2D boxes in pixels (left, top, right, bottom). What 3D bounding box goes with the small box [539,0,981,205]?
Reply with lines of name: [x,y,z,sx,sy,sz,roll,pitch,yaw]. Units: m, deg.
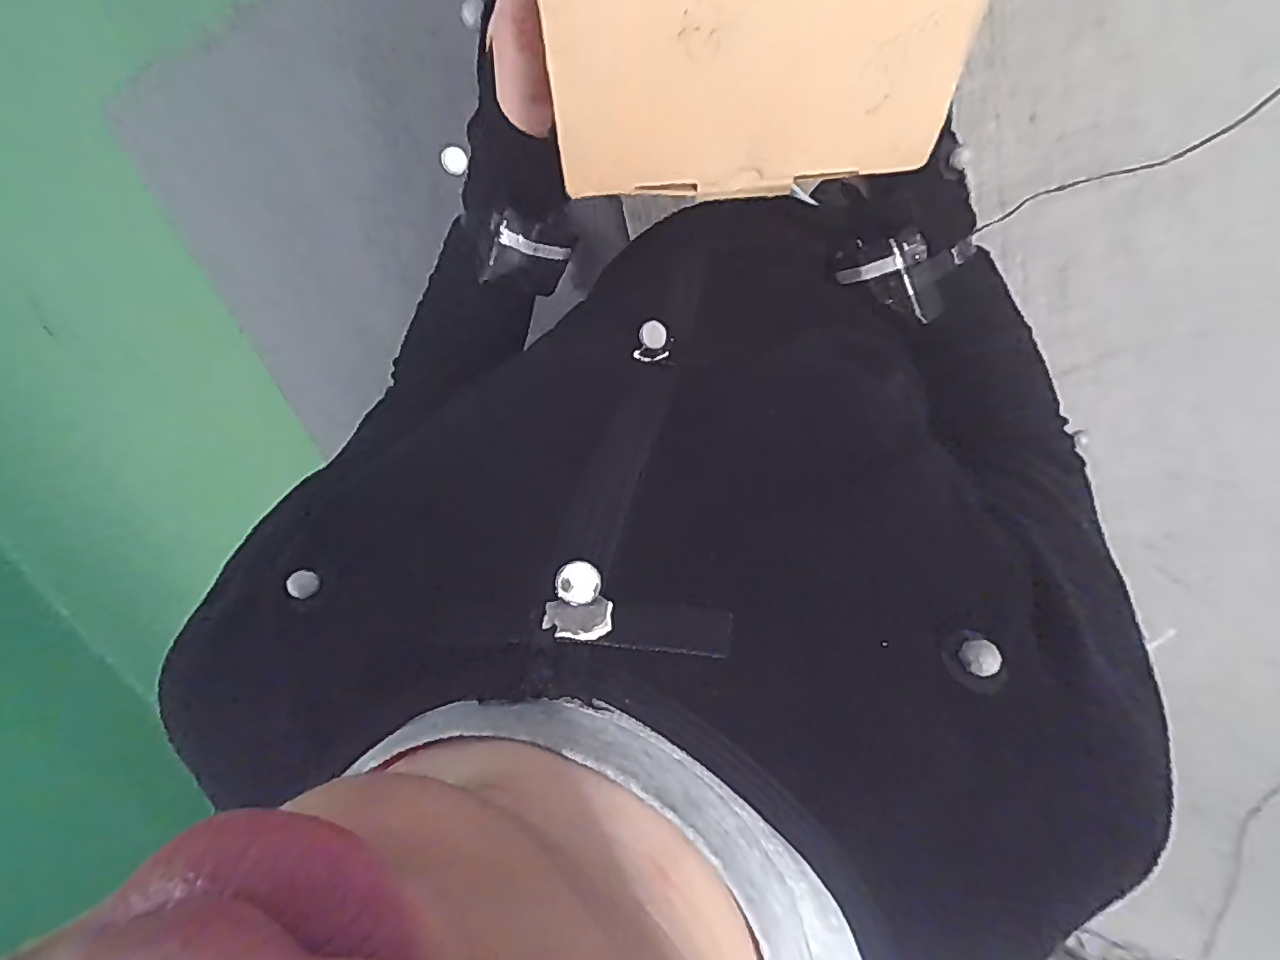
small box: [0.039,-0.249,0.227,0.168,0.176,0.179,-6,145,-1]
